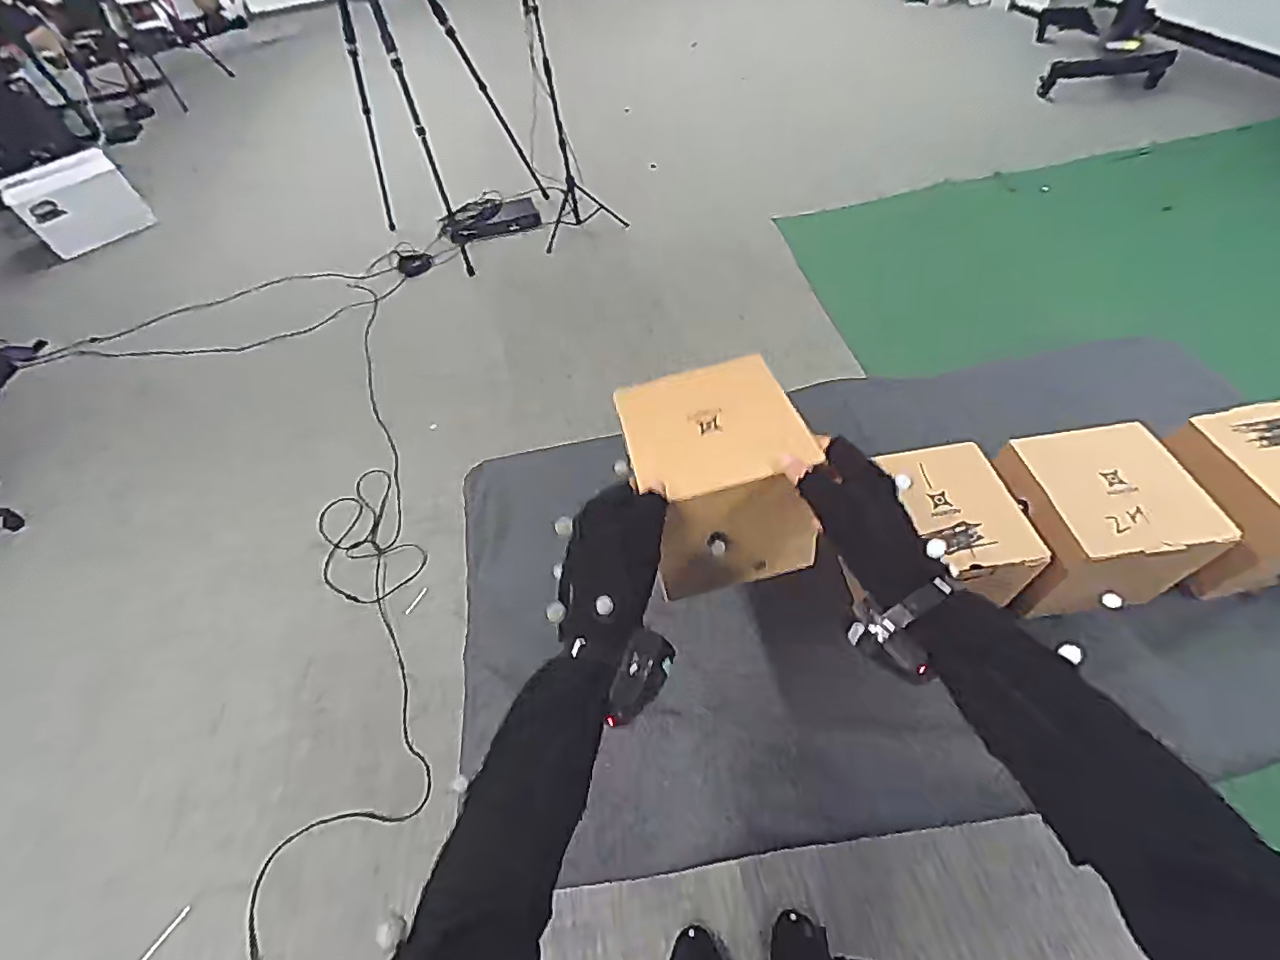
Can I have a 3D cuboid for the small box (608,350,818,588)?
[{"bbox_3d":[0.074,-0.005,0.575,0.168,0.176,0.179,-15,45,-1],"label":"small box"}]
